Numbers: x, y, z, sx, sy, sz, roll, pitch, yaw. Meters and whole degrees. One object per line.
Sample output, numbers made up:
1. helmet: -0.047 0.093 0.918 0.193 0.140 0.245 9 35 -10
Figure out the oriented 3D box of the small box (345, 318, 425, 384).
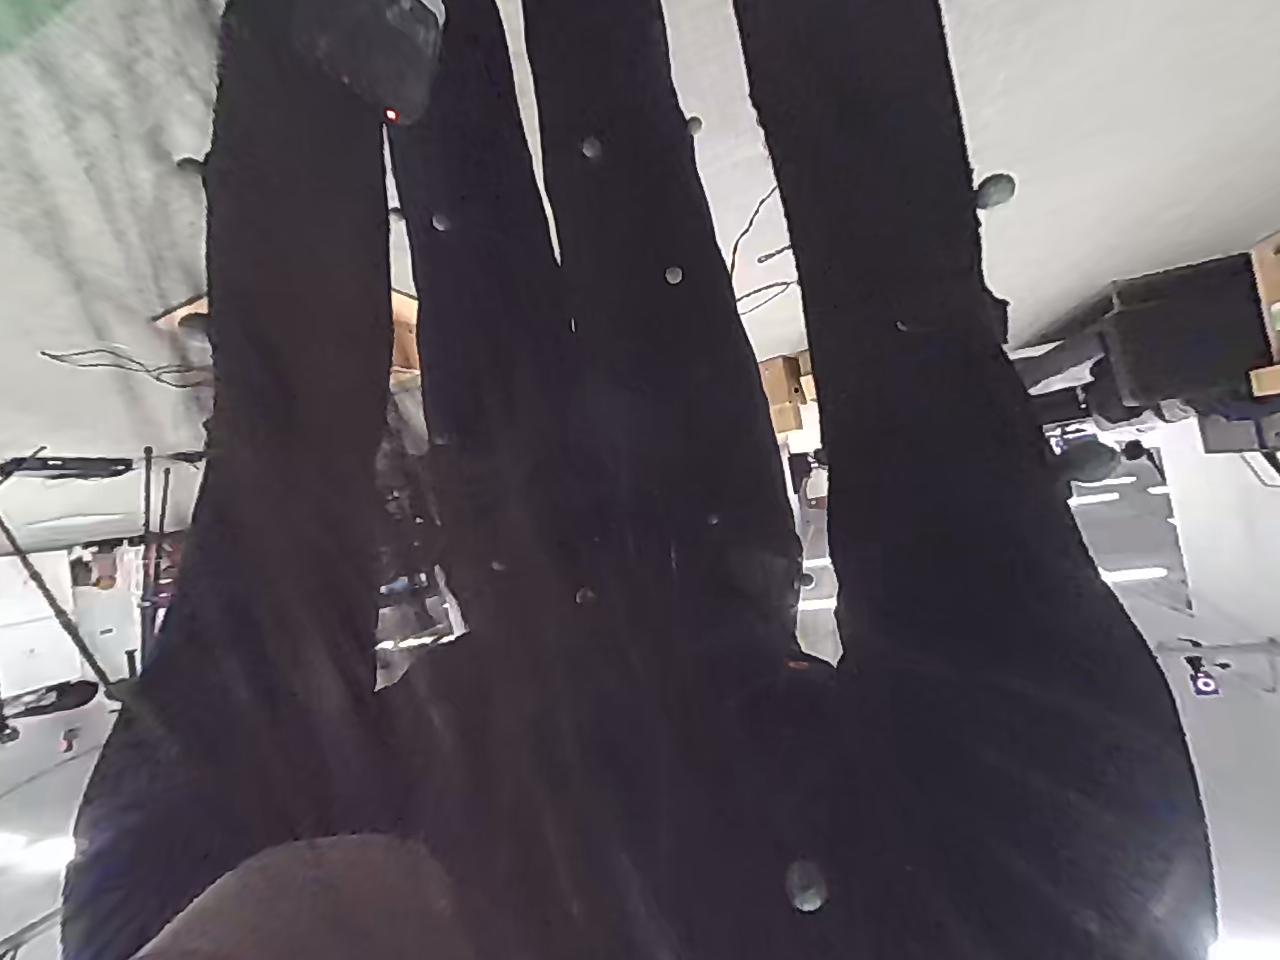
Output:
1. small box: -0.867 -0.435 1.829 0.179 0.176 0.168 -11 179 27
